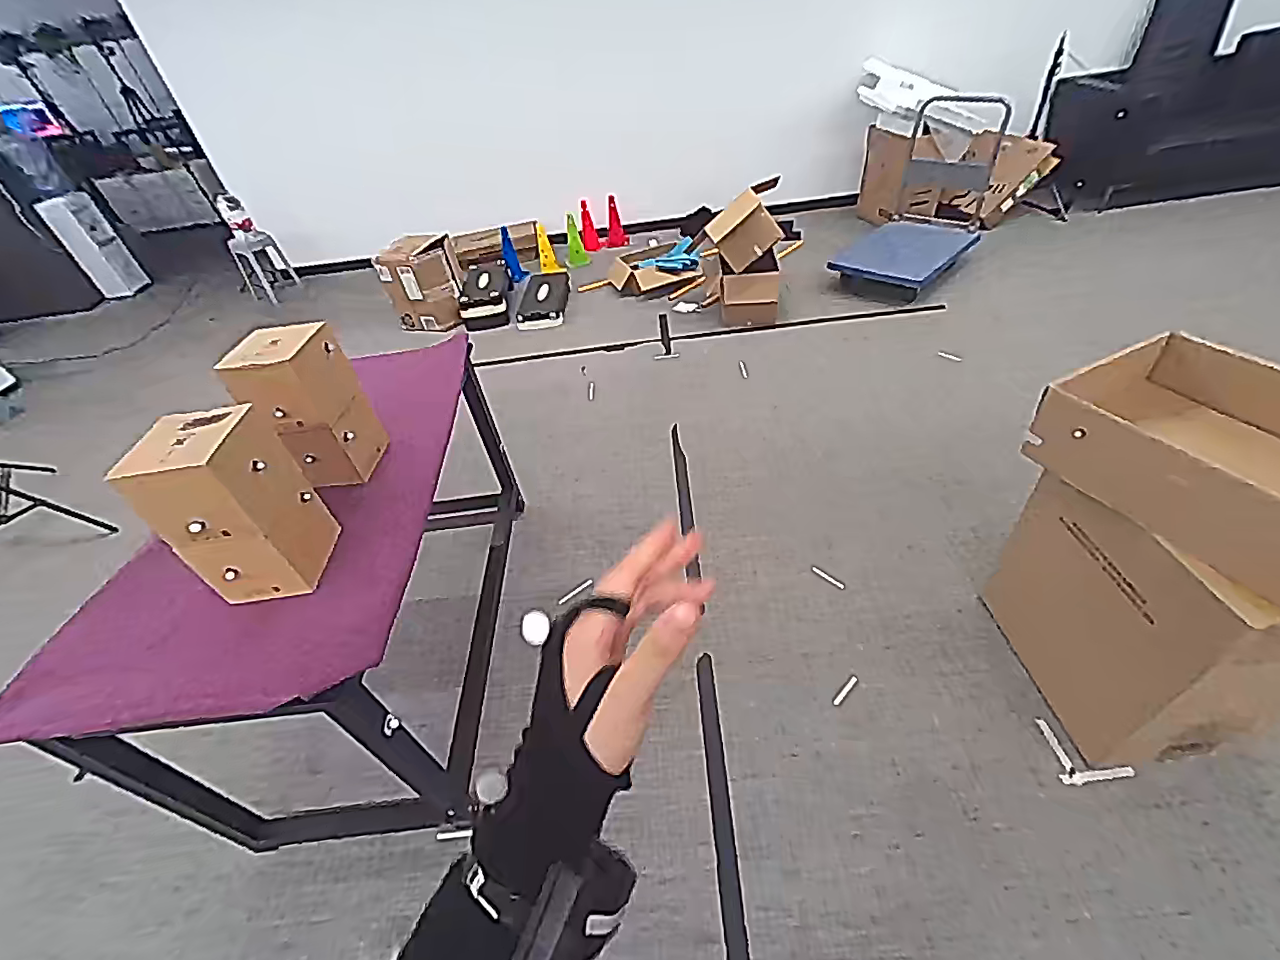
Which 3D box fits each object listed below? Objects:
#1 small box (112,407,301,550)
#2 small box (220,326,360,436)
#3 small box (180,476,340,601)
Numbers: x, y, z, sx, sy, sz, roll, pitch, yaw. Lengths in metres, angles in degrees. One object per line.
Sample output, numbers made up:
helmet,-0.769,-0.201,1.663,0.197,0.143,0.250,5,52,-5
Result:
small box,-0.739,-0.003,0.953,0.168,0.176,0.179,-9,42,0
small box,-0.751,-0.215,1.187,0.168,0.176,0.179,-6,42,5
small box,-0.725,0.121,1.060,0.168,0.176,0.179,-9,41,0
